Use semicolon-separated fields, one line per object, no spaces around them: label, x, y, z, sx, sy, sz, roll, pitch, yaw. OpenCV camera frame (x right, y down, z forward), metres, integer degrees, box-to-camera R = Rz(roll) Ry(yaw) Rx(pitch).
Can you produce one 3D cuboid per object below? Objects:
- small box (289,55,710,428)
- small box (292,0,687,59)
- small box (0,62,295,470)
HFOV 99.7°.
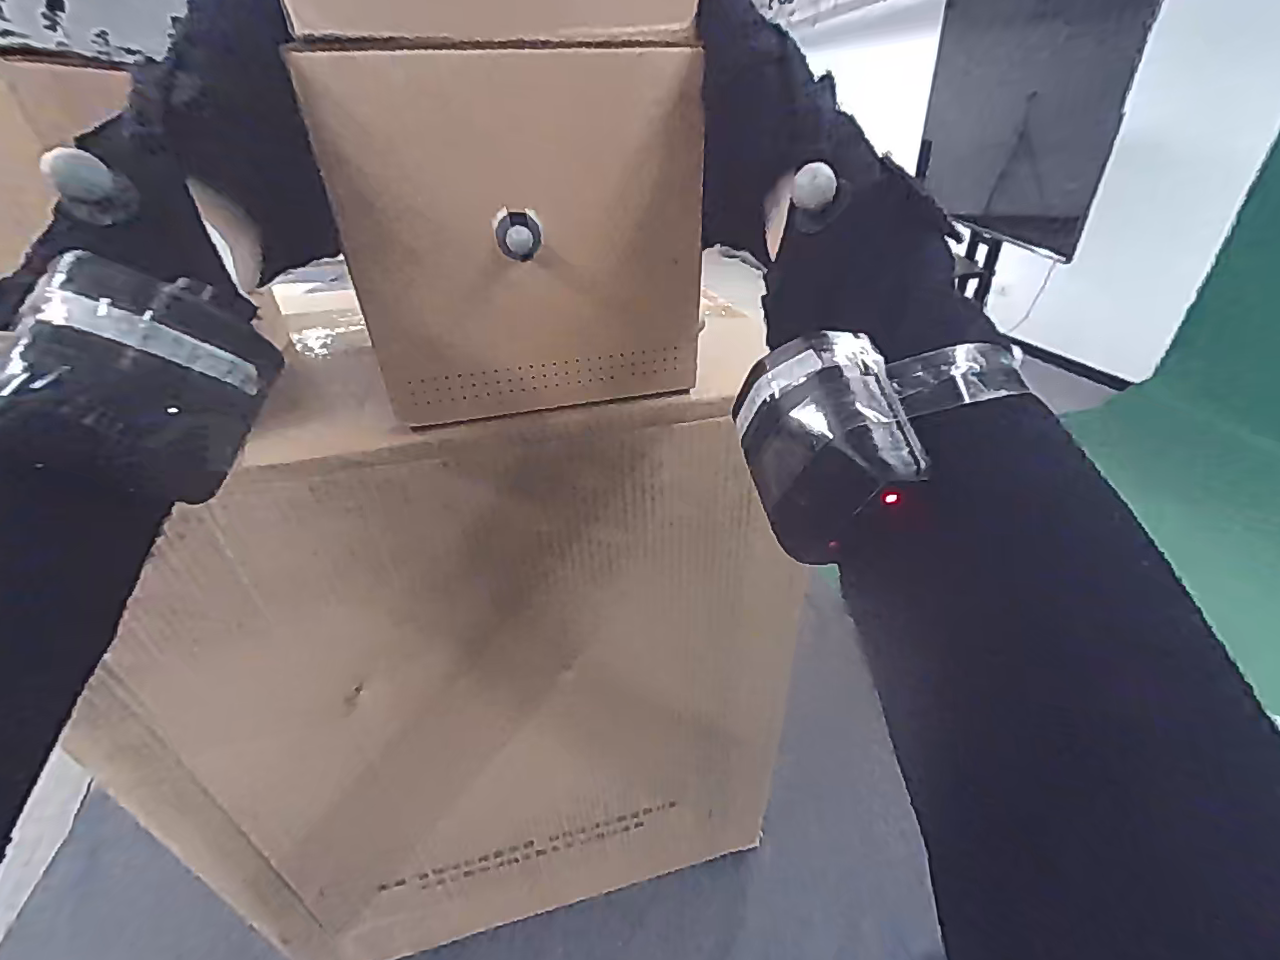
small box;-0.069;-0.148;0.333;0.179;0.176;0.168;-9;35;-10
small box;-0.078;-0.286;0.248;0.168;0.176;0.179;-10;34;-15
small box;-0.326;-0.116;0.298;0.168;0.176;0.179;-10;36;-10
